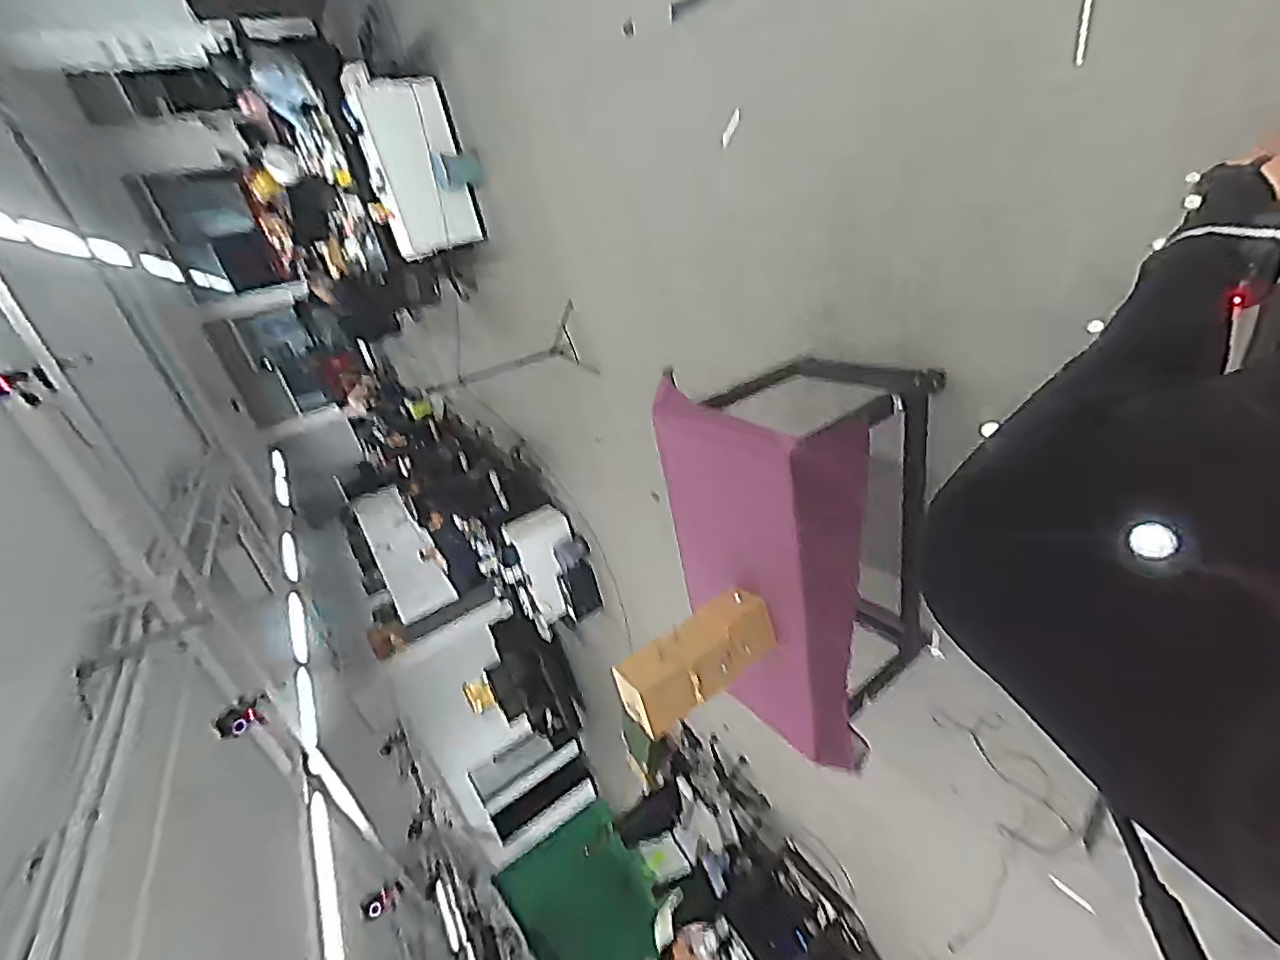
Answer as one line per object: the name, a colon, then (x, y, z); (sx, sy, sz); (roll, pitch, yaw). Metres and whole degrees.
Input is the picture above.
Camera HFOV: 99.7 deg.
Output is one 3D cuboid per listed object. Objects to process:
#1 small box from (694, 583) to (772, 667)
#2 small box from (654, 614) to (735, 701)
small box: (0.307, 0.468, 1.768); (0.168, 0.176, 0.179); (12, 123, 58)
small box: (0.175, 0.551, 1.711); (0.179, 0.176, 0.168); (20, 131, 55)
